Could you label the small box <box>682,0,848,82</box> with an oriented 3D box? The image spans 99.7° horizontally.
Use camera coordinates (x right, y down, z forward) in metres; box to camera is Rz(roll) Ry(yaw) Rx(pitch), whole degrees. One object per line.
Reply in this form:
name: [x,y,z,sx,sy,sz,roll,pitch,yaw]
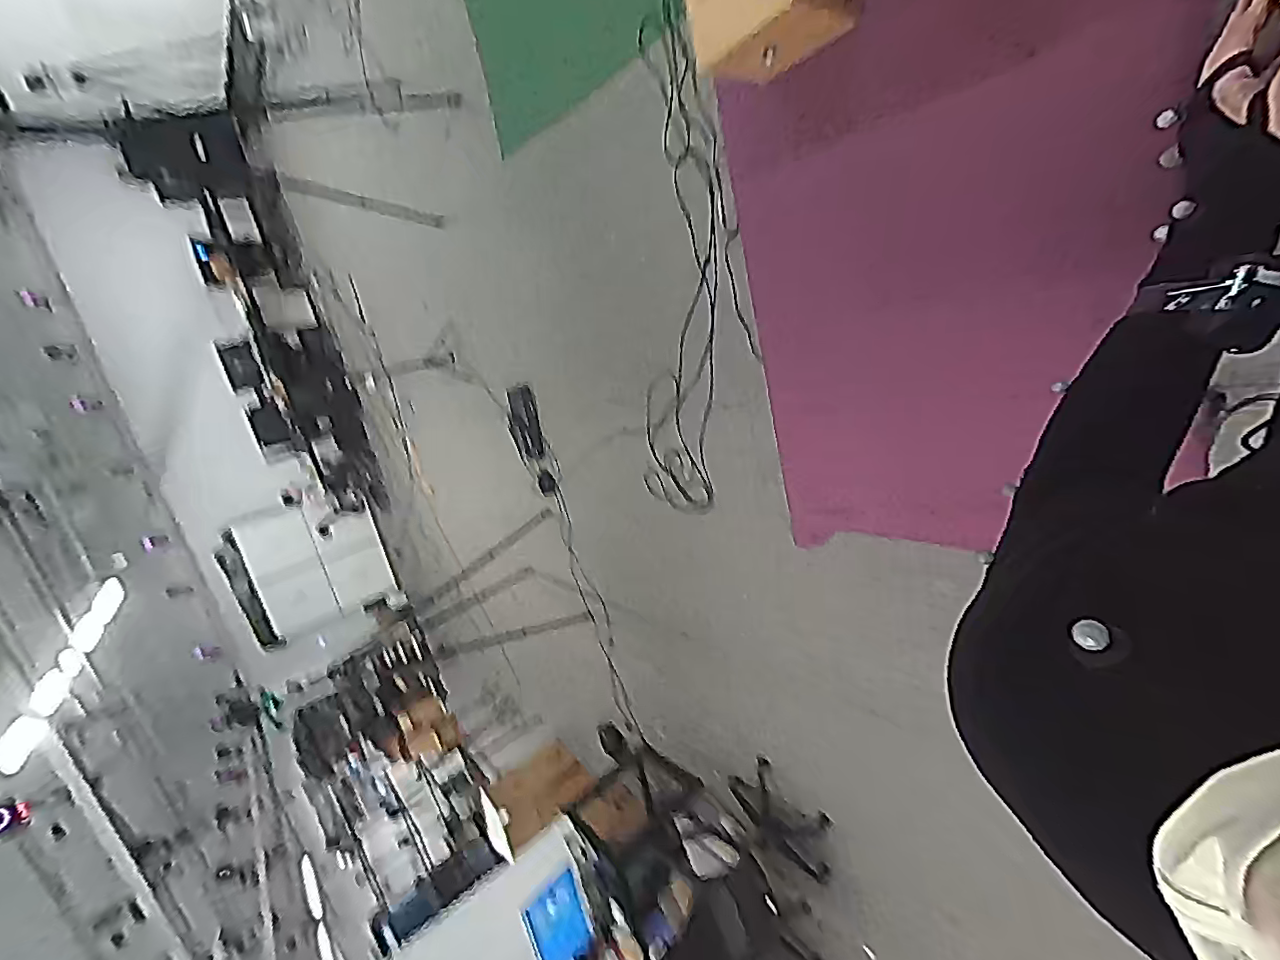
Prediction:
small box: [0.181,-0.714,0.784,0.179,0.176,0.168,6,114,52]
